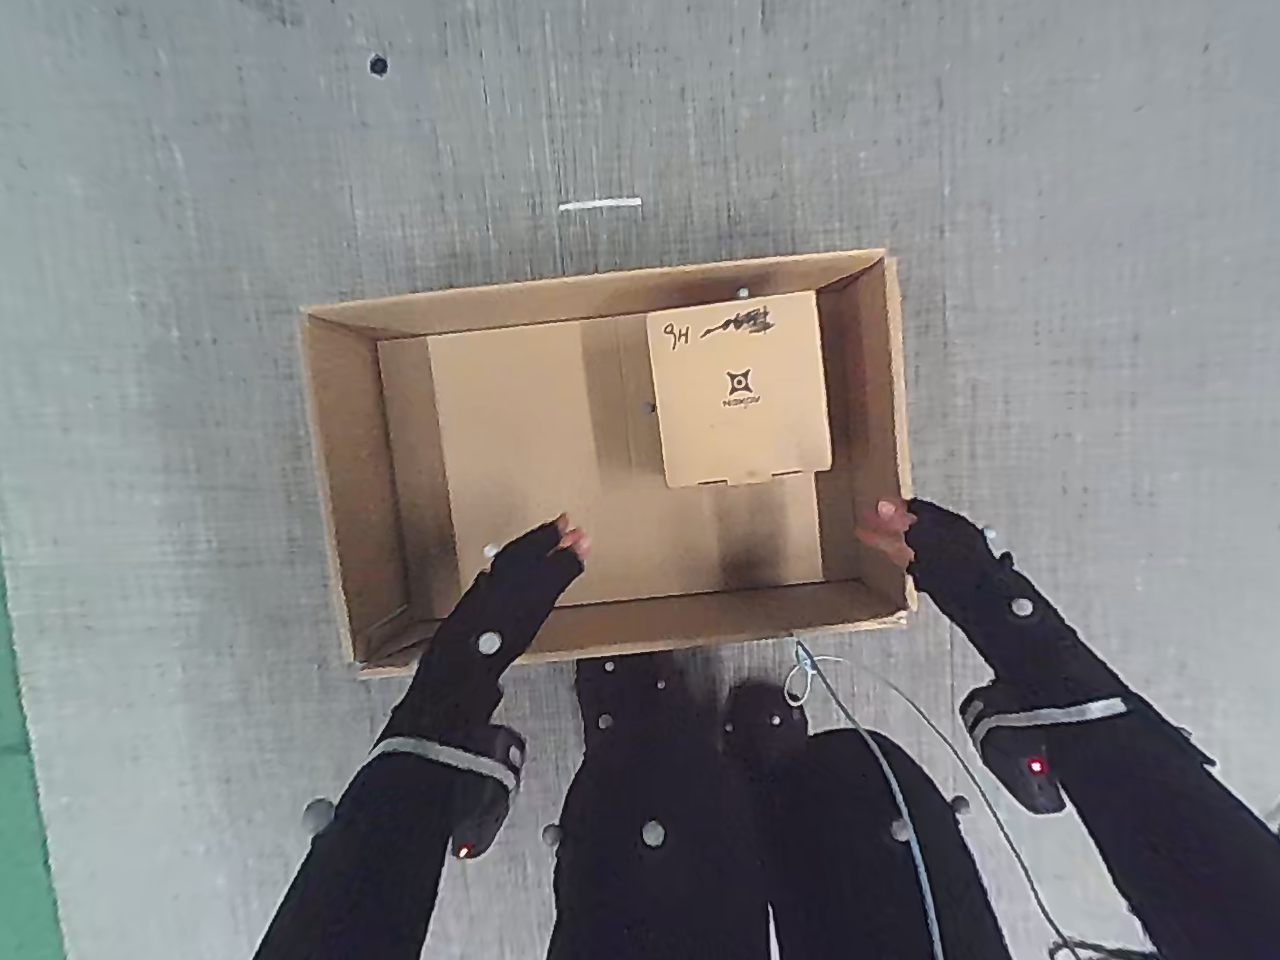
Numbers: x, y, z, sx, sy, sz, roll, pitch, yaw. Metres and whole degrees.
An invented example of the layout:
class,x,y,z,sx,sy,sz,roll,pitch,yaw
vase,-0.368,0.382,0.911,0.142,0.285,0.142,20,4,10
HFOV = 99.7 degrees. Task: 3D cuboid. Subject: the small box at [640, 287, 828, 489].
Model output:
class,x,y,z,sx,sy,sz,roll,pitch,yaw
small box,0.097,-0.096,0.608,0.168,0.176,0.179,-10,95,3
